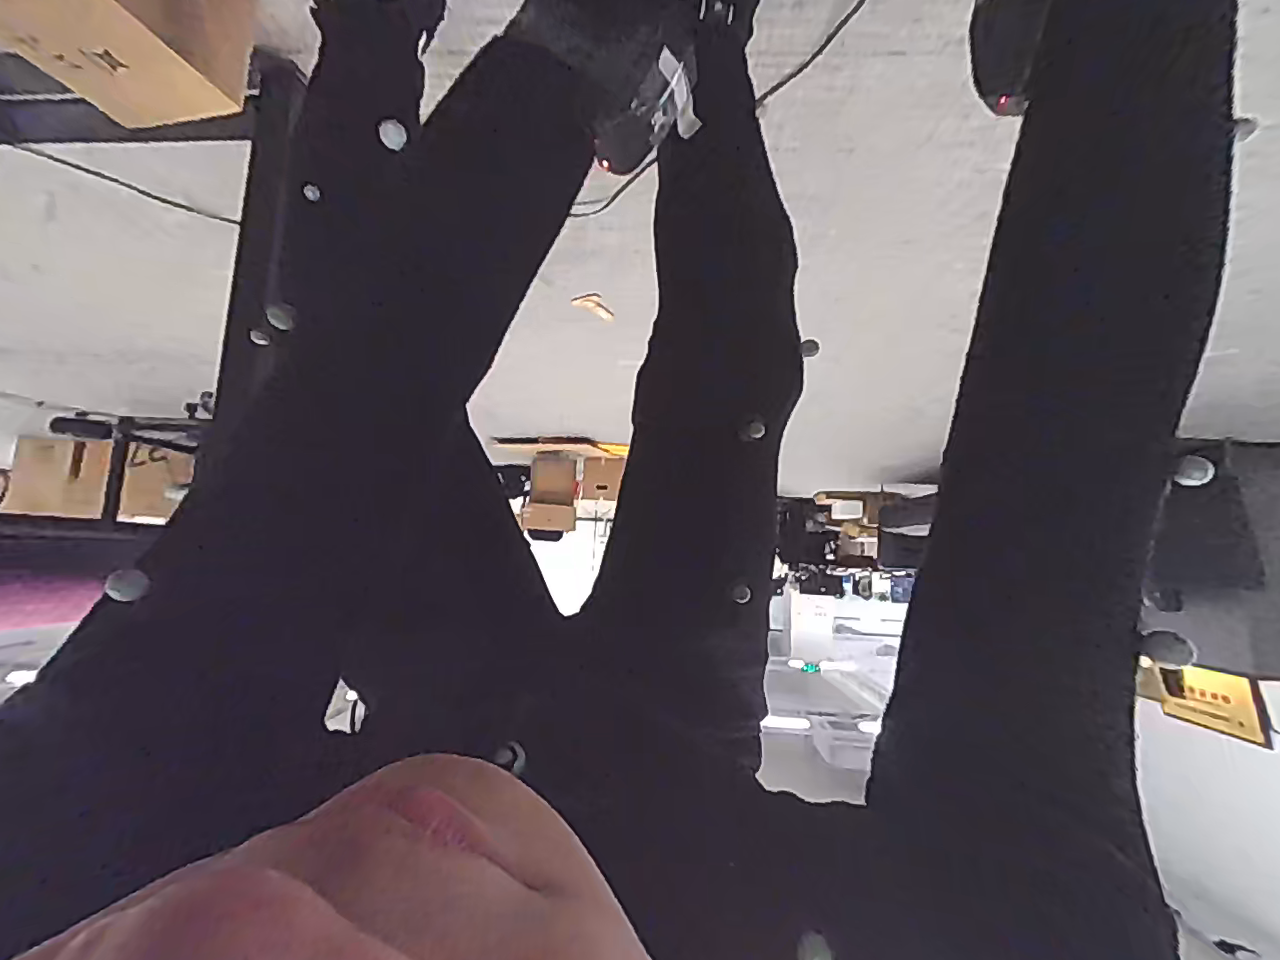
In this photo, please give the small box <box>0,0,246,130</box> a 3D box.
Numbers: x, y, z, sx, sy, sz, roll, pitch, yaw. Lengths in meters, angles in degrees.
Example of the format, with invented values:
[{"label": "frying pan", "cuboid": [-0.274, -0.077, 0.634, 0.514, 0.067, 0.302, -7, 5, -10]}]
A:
[{"label": "small box", "cuboid": [-0.551, -0.511, 0.563, 0.179, 0.176, 0.168, 1, 172, 11]}]
